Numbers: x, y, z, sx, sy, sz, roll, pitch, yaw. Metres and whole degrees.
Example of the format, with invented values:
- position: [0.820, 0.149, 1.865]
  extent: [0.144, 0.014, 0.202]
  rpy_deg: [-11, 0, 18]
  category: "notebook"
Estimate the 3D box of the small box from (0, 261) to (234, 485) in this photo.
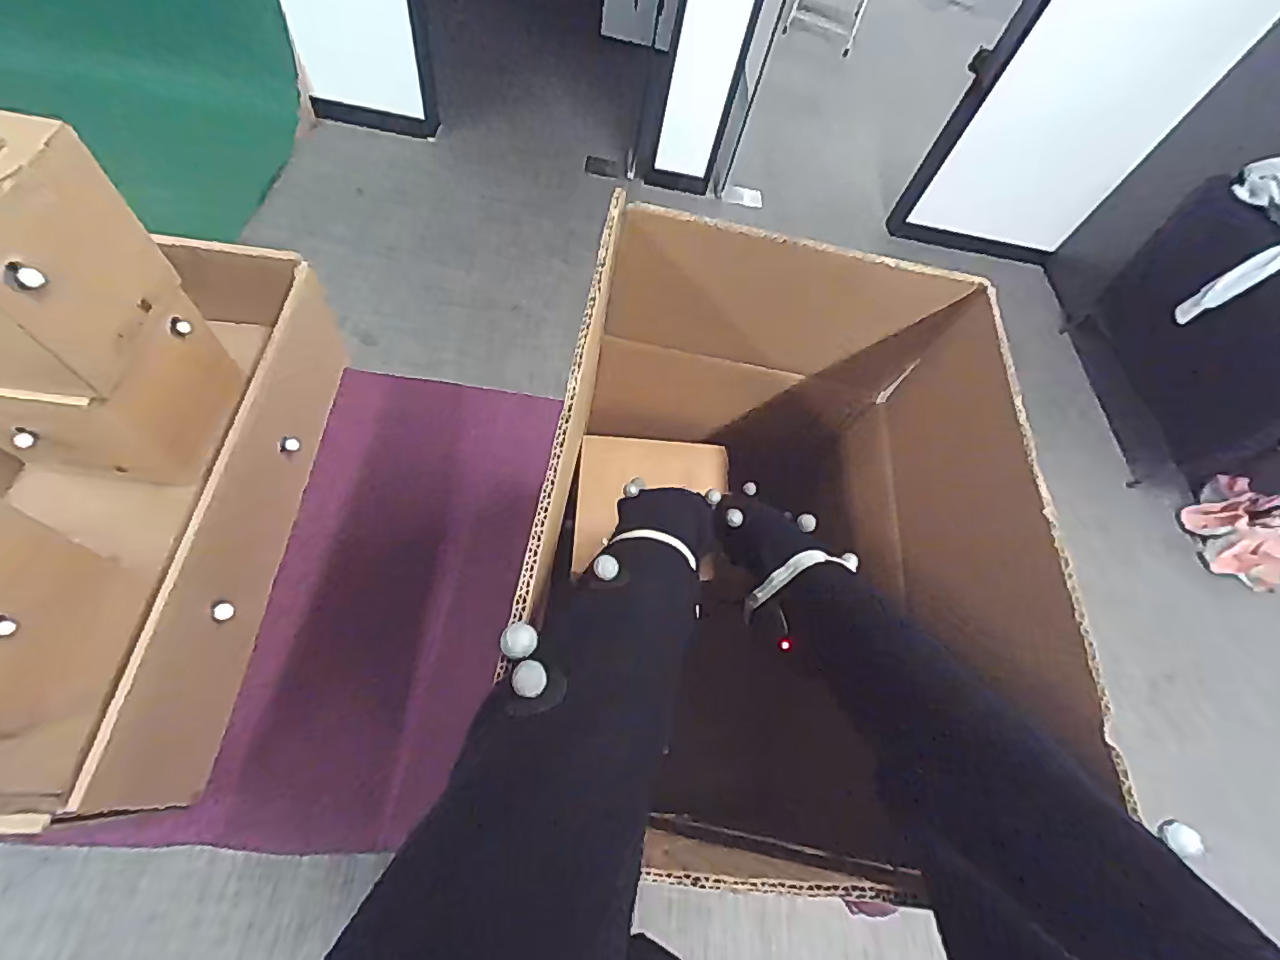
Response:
- position: [-0.610, -0.111, 0.612]
  extent: [0.168, 0.176, 0.179]
  rpy_deg: [7, 60, -6]
  category: "small box"
